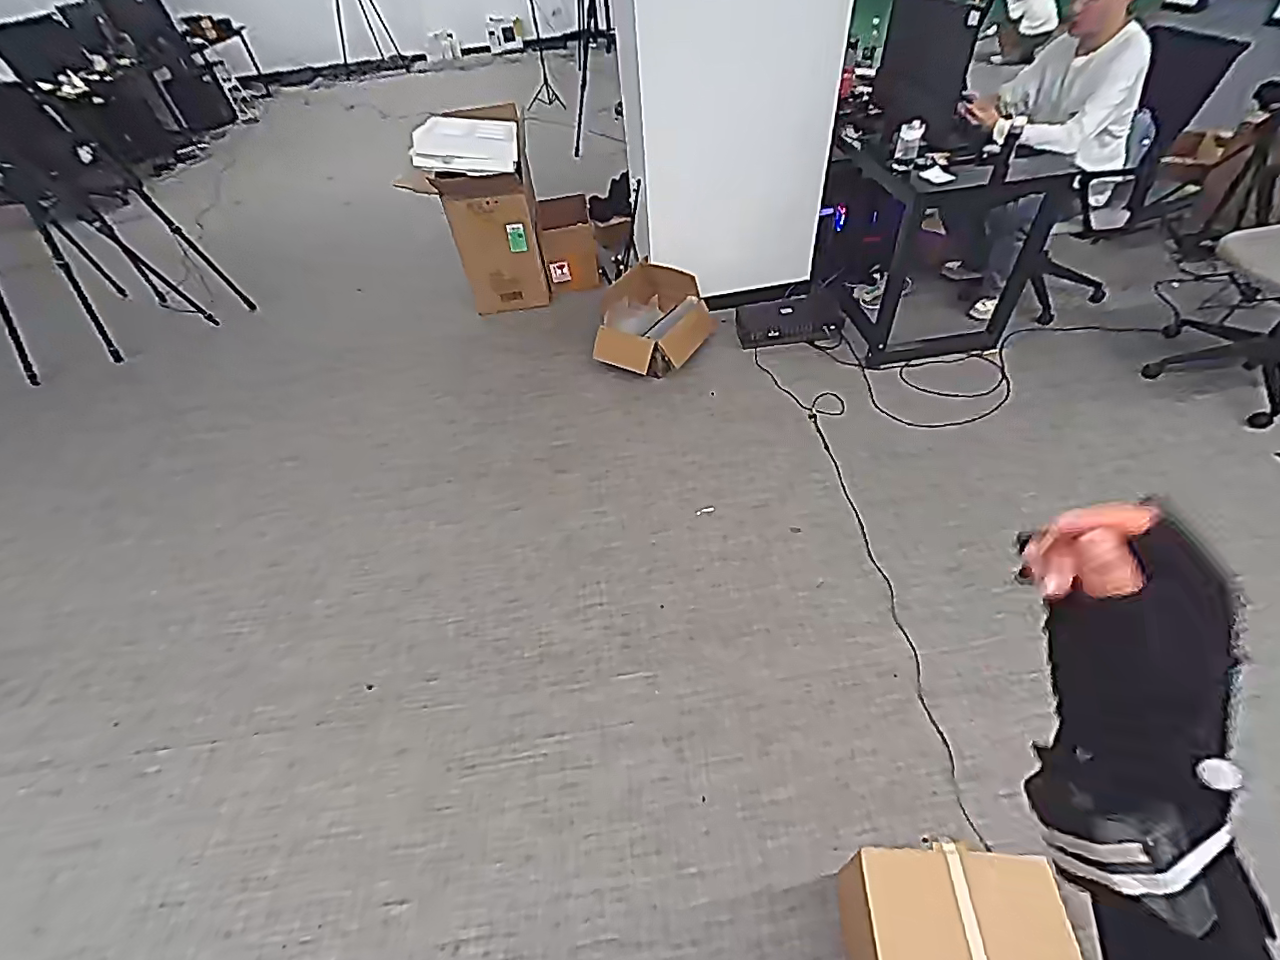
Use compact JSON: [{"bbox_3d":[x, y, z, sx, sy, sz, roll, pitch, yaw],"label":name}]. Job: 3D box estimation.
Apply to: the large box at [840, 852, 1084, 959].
[{"bbox_3d":[0.565,0.914,0.943,0.320,0.320,0.408,-2,48,8],"label":"large box"}]
